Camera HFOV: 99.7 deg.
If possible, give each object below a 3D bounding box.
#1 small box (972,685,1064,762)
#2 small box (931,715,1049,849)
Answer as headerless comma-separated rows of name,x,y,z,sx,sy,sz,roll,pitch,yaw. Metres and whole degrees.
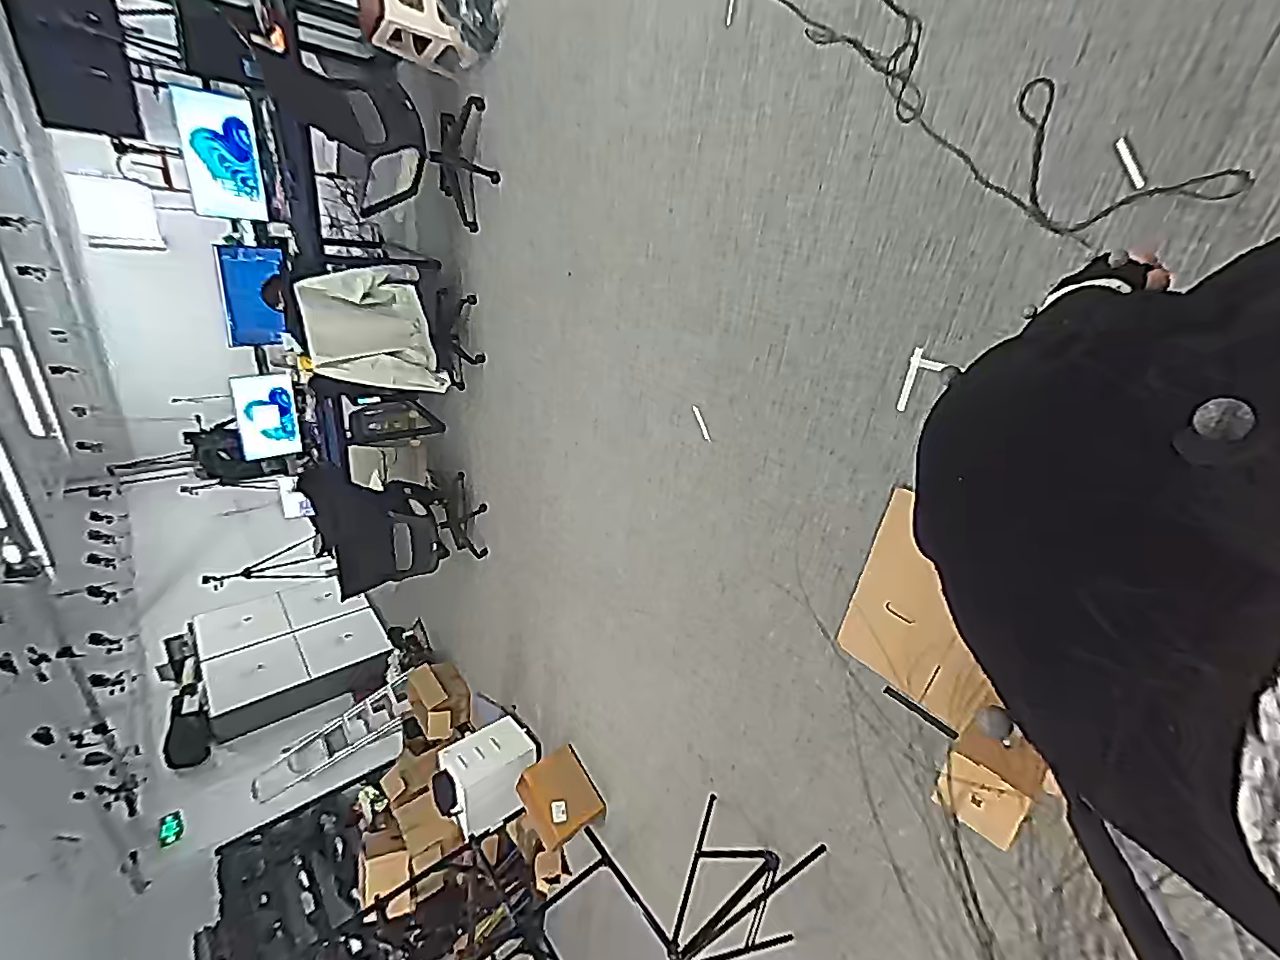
small box,0.938,0.658,1.368,0.168,0.176,0.179,25,120,44
small box,0.817,0.695,1.262,0.168,0.176,0.179,26,121,42
